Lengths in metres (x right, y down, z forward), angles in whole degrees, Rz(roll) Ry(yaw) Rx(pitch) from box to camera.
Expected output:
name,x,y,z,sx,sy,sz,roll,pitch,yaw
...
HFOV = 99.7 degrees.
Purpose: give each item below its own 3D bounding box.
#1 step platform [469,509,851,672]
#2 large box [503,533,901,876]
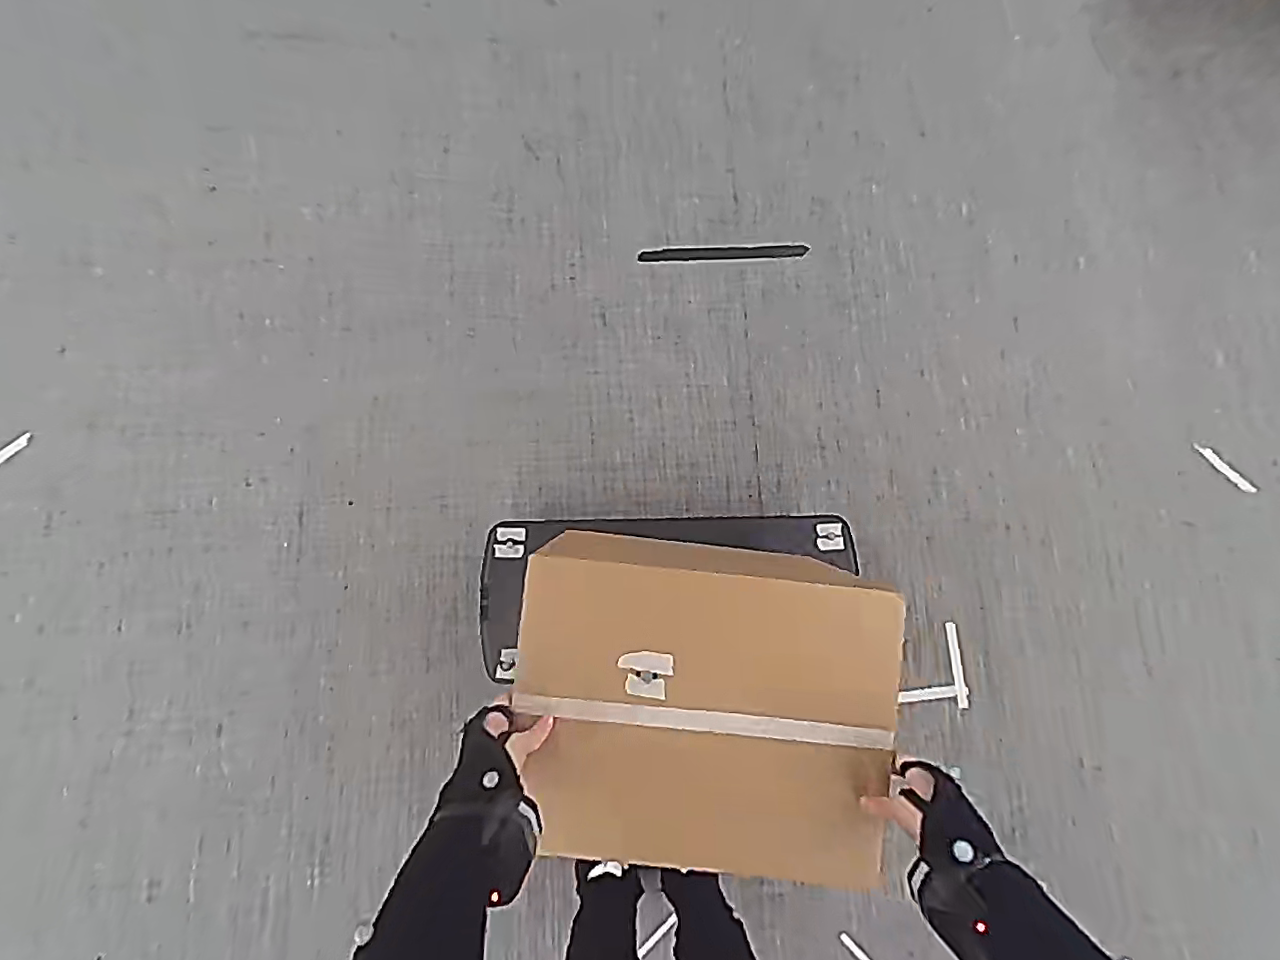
name,x,y,z,sx,sy,sz,roll,pitch,yaw
step platform,0.040,0.216,1.008,0.684,0.204,0.286,4,81,-2
large box,0.069,0.249,0.715,0.408,0.320,0.320,5,88,1
